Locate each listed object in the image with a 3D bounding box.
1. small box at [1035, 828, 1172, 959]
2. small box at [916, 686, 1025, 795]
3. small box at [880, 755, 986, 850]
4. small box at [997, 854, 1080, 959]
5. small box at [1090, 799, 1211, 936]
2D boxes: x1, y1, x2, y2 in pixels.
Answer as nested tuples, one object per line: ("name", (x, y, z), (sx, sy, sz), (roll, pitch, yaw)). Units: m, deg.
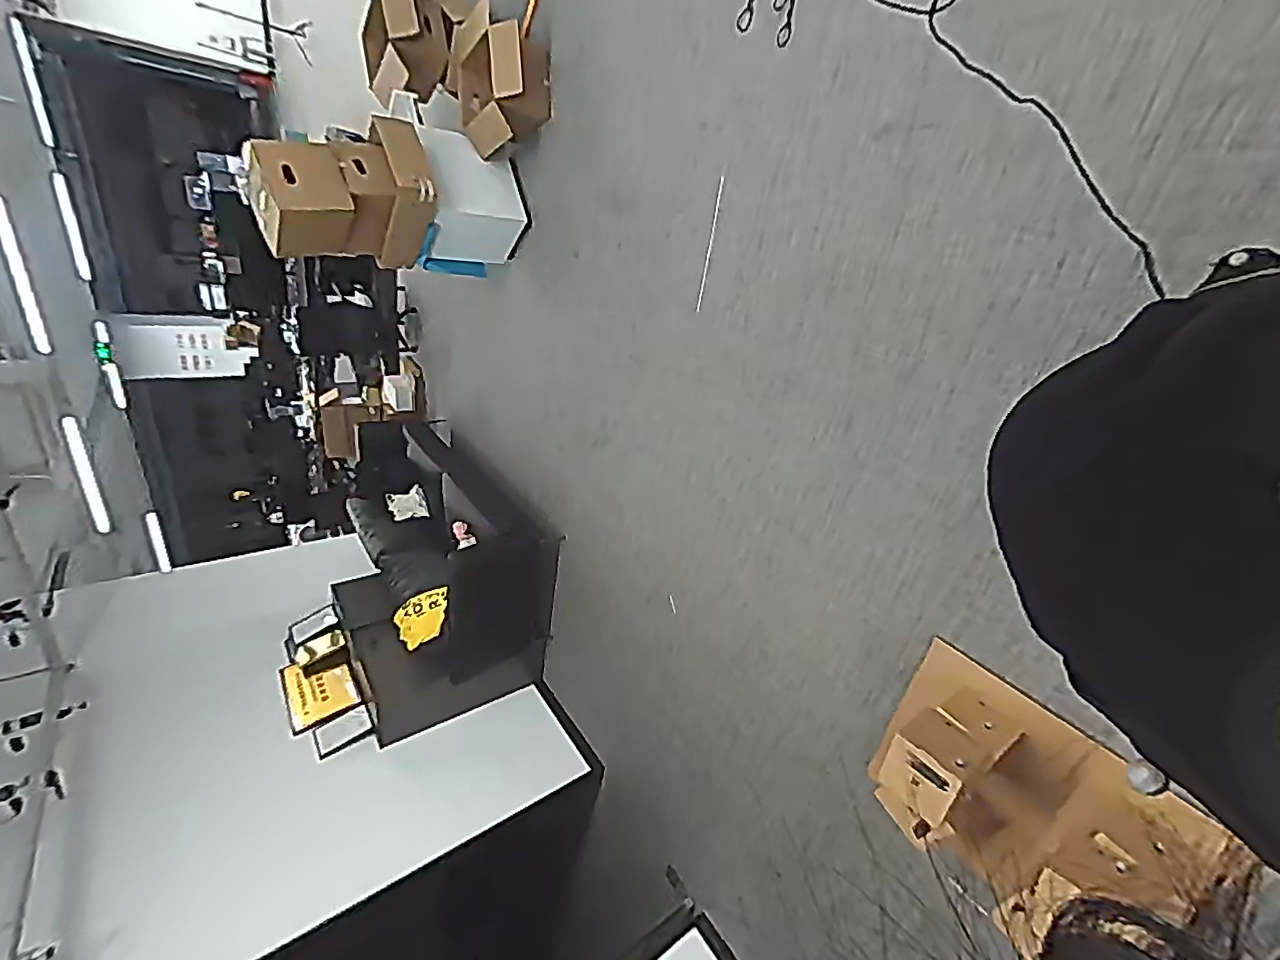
("small box", (0.964, 0.884, 1.125), (0.168, 0.176, 0.179), (21, 115, 49))
("small box", (0.890, 0.689, 1.450), (0.168, 0.176, 0.179), (41, 130, 41))
("small box", (0.849, 0.916, 1.562), (0.179, 0.176, 0.168), (53, 137, 33))
("small box", (1.048, 1.089, 1.344), (0.179, 0.176, 0.168), (43, 131, 38))
("small box", (1.108, 0.859, 1.203), (0.168, 0.176, 0.179), (43, 131, 41))
